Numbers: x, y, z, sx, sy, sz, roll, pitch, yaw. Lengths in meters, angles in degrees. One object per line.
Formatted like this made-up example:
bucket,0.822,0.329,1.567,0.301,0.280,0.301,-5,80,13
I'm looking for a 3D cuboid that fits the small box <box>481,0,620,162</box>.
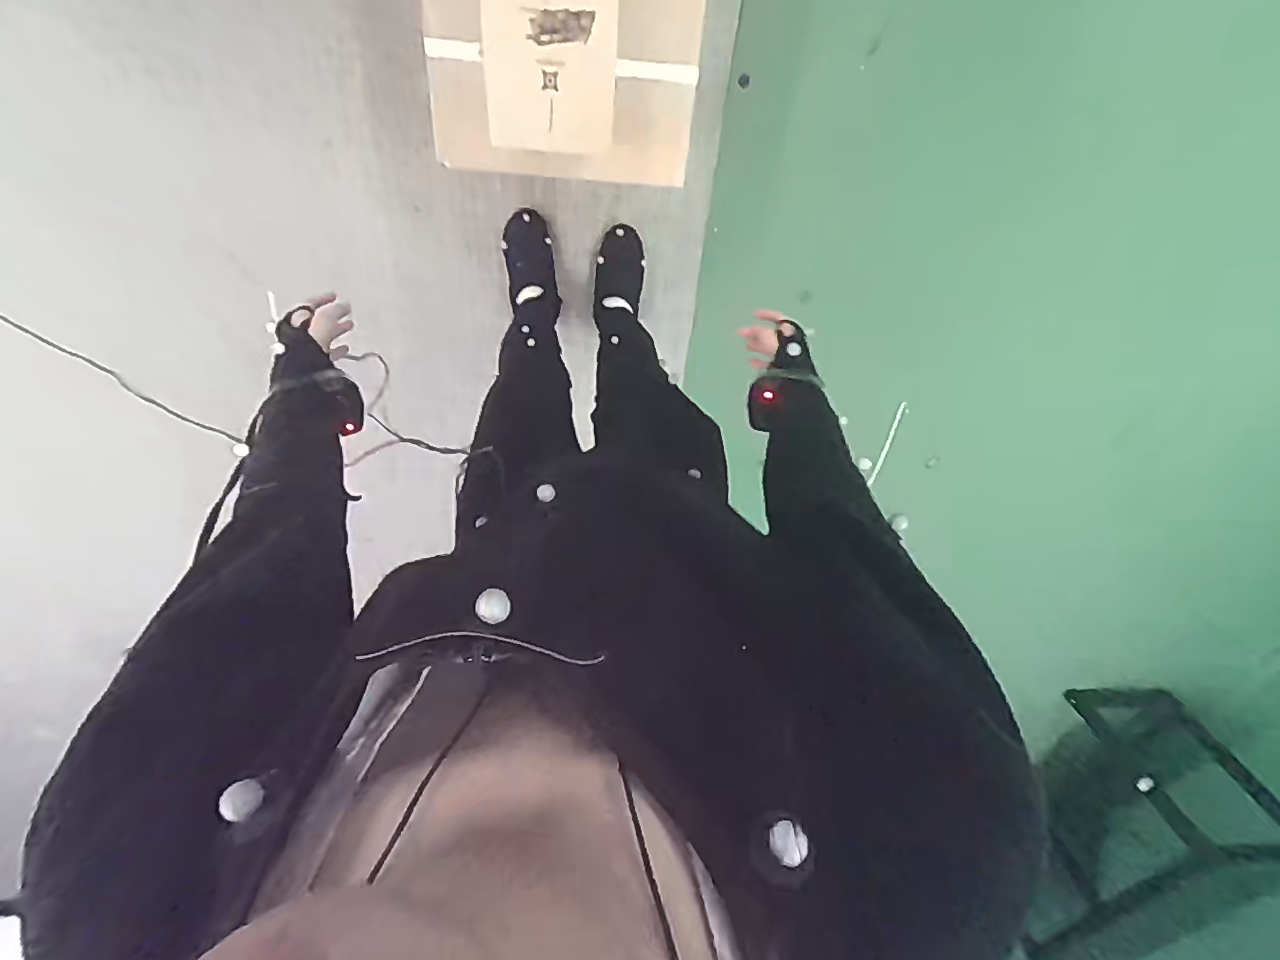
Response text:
small box,-0.120,-0.556,0.745,0.168,0.176,0.179,1,127,-7
